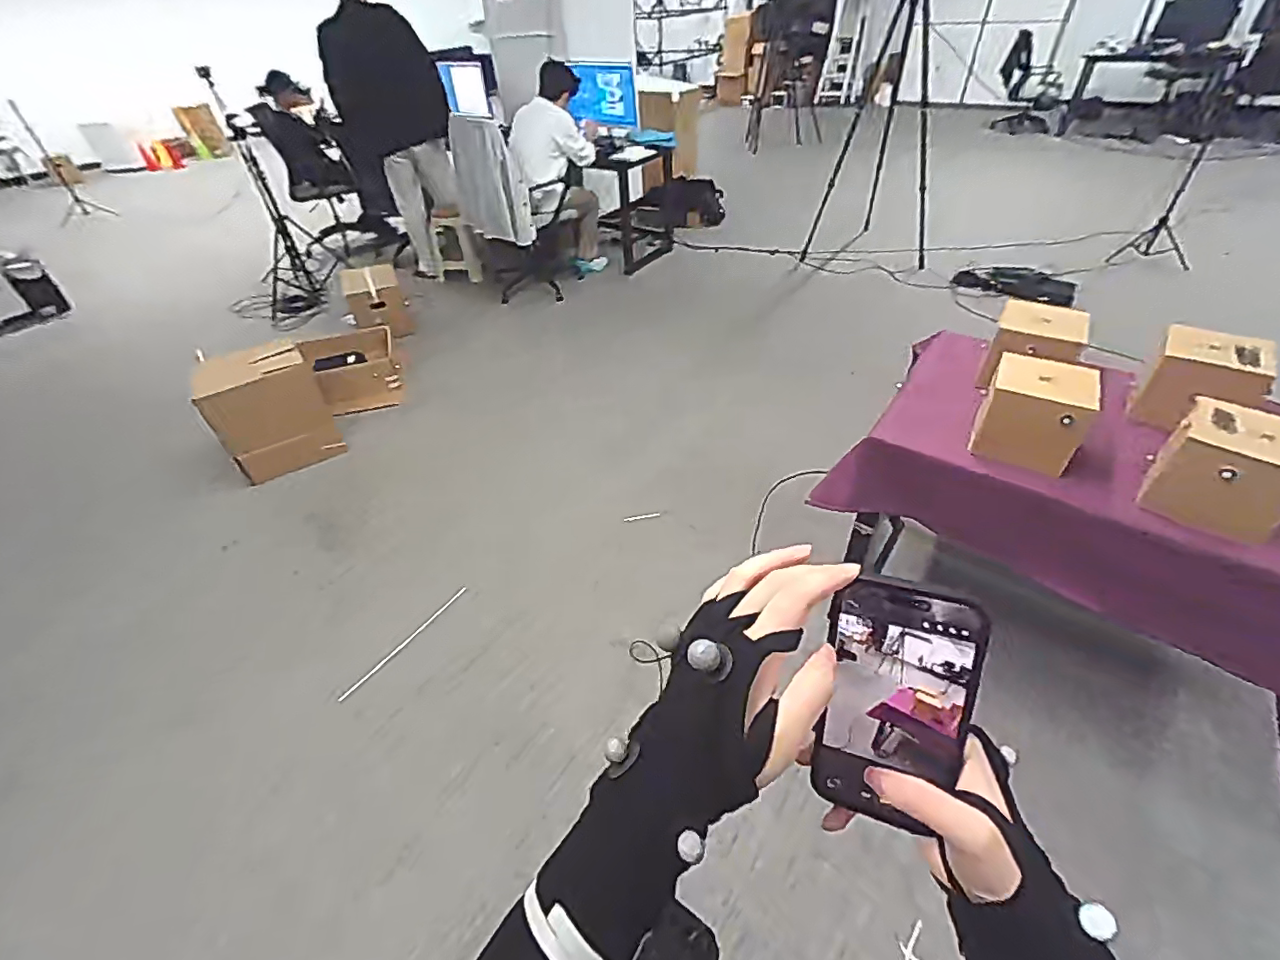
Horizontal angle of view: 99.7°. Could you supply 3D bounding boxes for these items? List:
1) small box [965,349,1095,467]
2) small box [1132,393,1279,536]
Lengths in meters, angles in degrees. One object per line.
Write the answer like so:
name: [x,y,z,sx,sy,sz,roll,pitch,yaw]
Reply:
small box: [0.820,-0.152,1.147,0.179,0.176,0.168,21,48,23]
small box: [1.061,-0.027,0.990,0.179,0.176,0.168,31,53,31]
